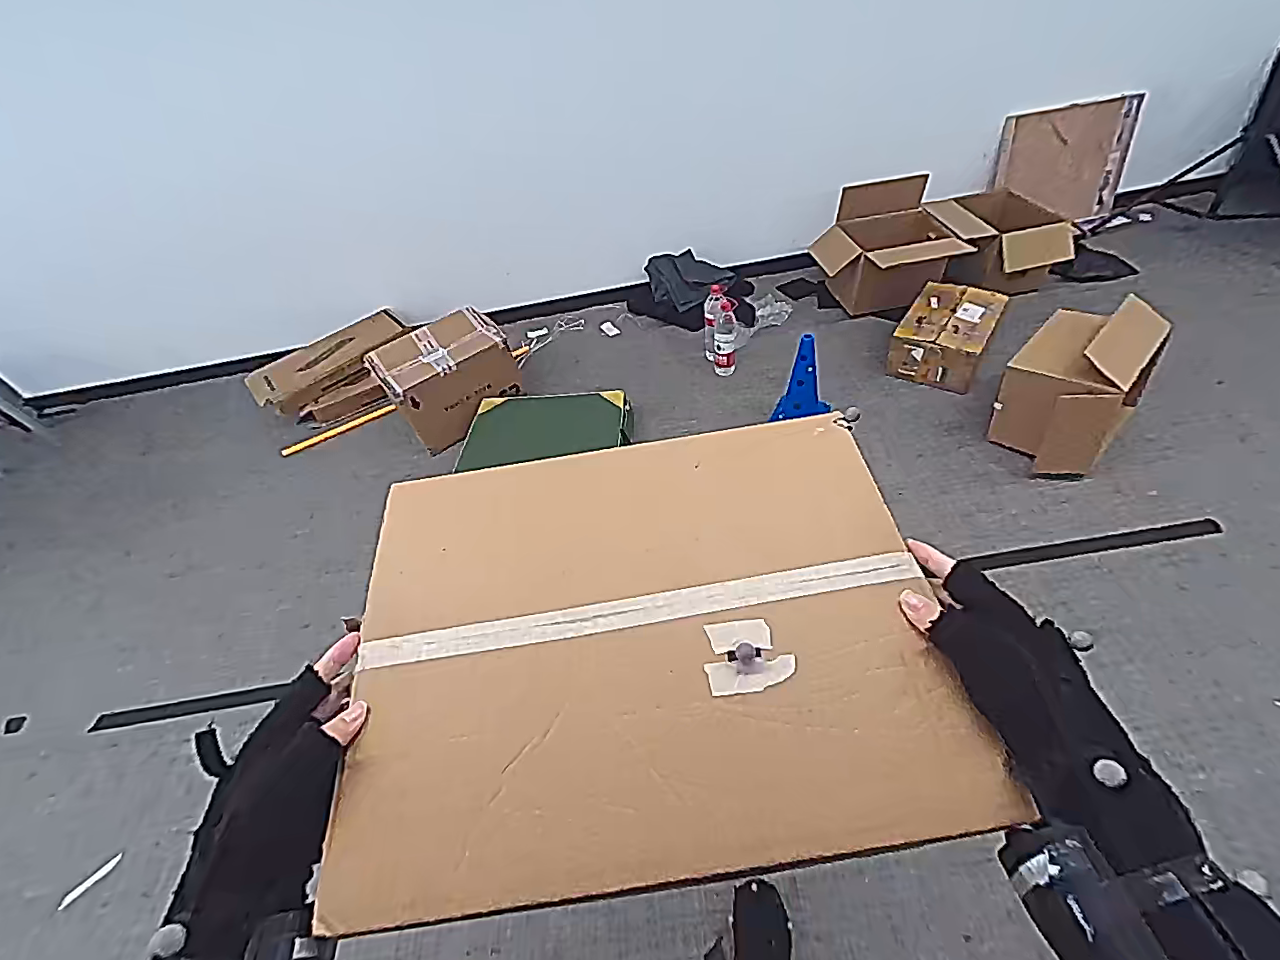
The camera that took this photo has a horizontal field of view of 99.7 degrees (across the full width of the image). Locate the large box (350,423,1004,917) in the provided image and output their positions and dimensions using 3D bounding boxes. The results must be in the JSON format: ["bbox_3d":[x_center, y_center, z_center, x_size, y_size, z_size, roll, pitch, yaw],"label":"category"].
[{"bbox_3d":[0.015,0.188,0.524,0.408,0.320,0.320,-9,54,-1],"label":"large box"}]
